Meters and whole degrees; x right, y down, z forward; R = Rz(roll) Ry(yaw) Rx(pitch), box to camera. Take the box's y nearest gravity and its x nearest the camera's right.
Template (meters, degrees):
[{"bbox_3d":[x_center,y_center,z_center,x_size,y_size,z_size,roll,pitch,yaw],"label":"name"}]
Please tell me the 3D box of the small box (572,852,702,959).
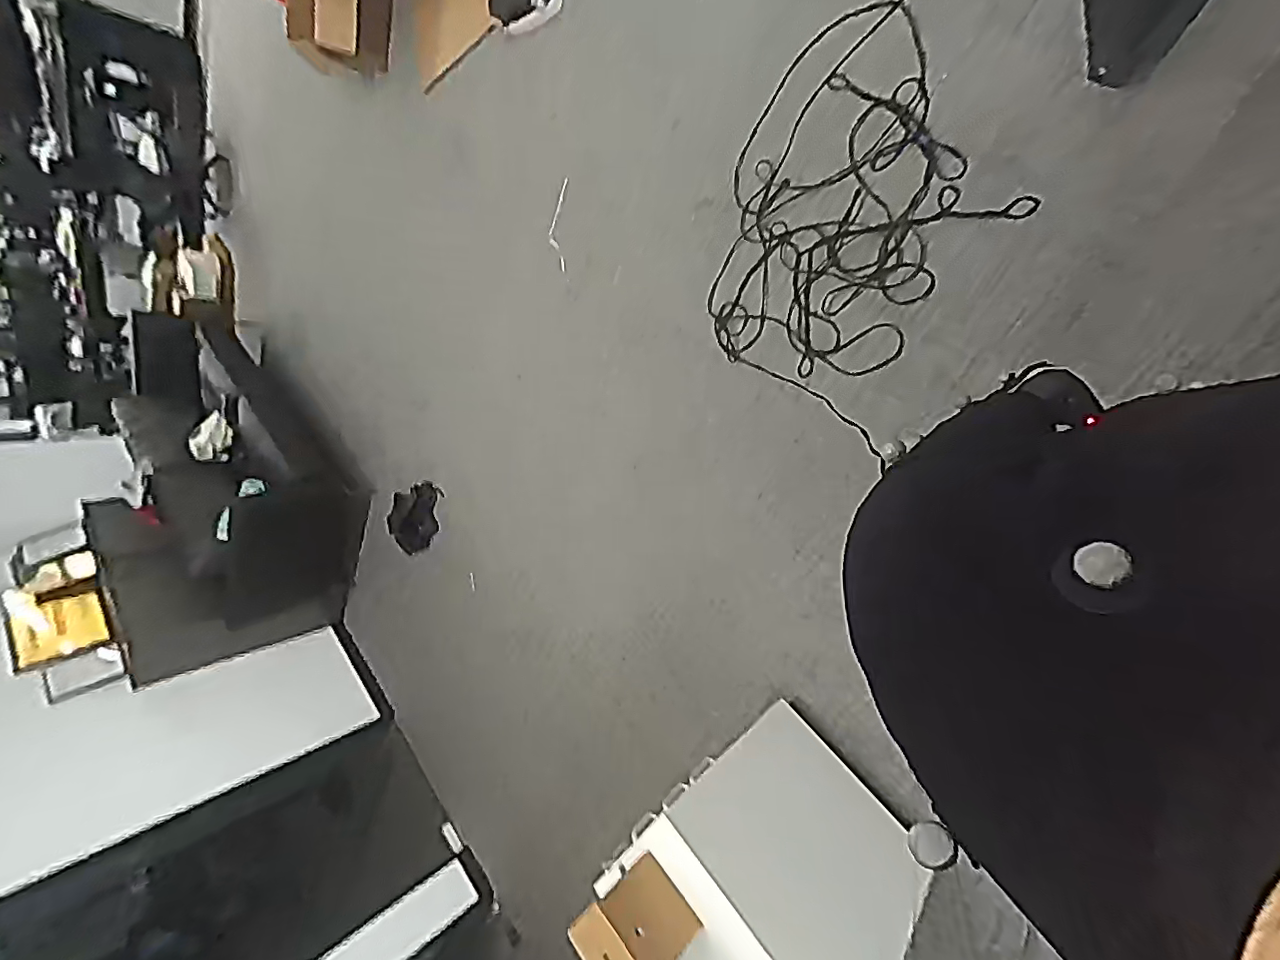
[{"bbox_3d":[-0.004,0.923,1.112,0.179,0.176,0.168,43,122,27],"label":"small box"}]
